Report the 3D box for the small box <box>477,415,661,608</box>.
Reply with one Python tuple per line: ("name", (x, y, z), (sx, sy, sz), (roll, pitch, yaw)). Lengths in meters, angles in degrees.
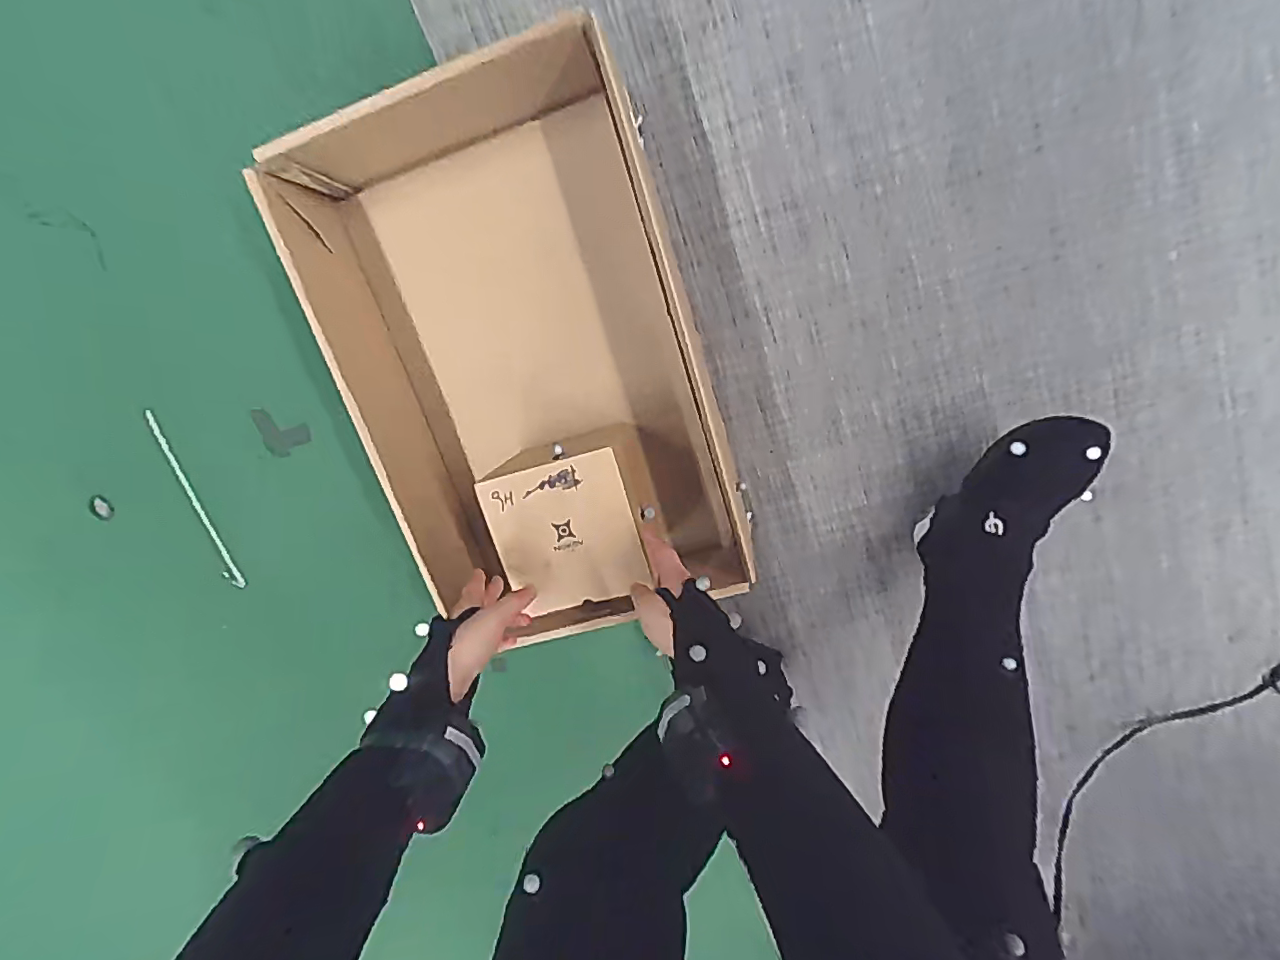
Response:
("small box", (-0.074, 0.031, 0.683), (0.168, 0.176, 0.179), (-14, 104, 8))
